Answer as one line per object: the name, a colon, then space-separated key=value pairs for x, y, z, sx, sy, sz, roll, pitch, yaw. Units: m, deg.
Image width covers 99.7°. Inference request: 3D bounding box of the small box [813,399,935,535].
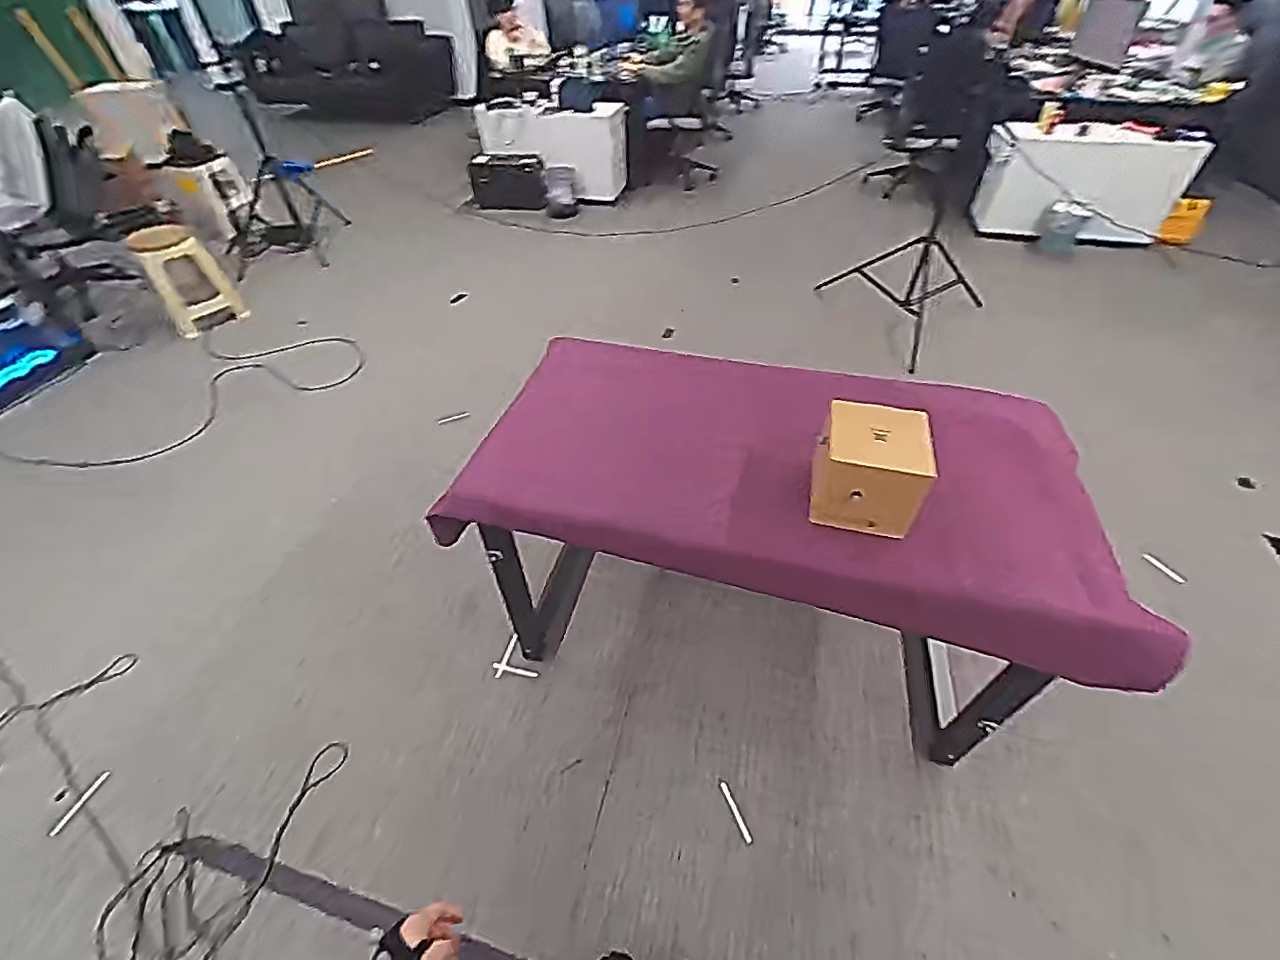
small box: x=0.422 y=-0.022 z=0.997 sx=0.168 sy=0.176 sz=0.179 roll=10 pitch=46 yaw=11
